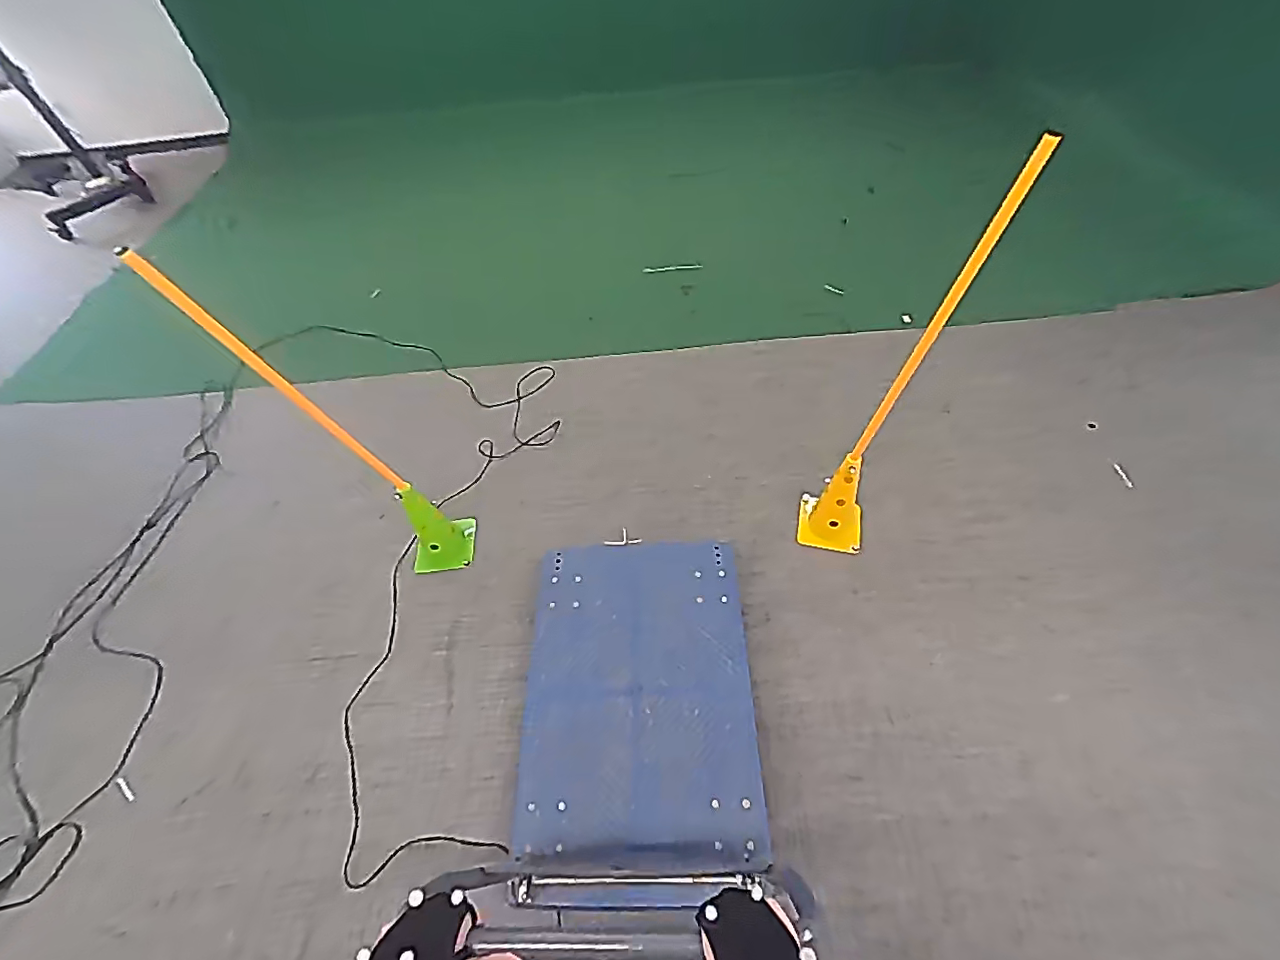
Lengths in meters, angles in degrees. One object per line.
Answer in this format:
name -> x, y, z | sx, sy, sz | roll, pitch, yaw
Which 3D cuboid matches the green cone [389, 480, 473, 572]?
green cone -> -0.706, 0.119, 1.754 | 0.202, 0.368, 0.200 | -9, 52, 1
